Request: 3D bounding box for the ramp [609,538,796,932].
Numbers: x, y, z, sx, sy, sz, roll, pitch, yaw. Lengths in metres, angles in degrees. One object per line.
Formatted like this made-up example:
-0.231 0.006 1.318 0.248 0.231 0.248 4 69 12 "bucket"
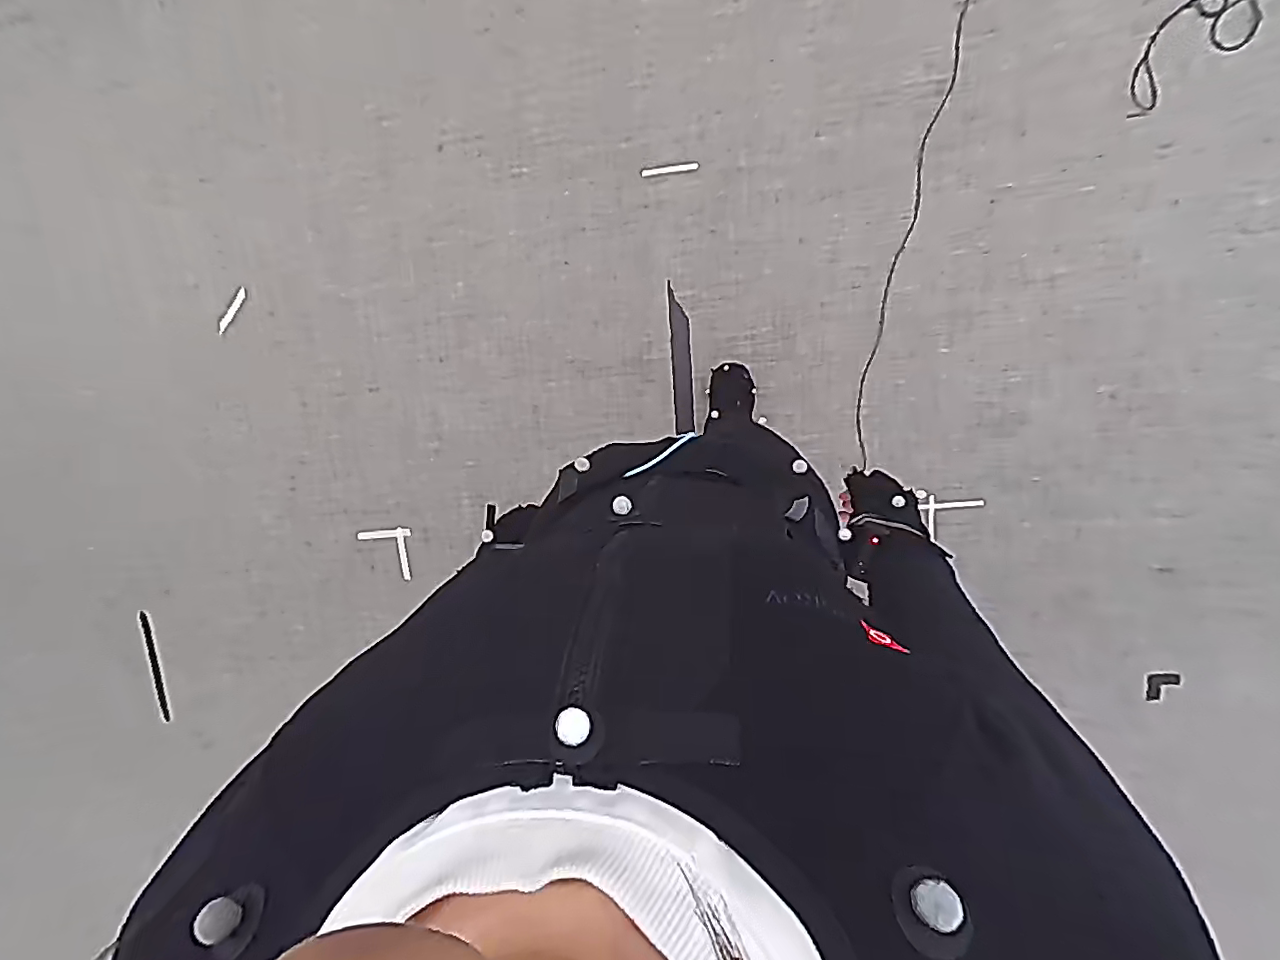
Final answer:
0.155 0.654 1.437 0.509 0.206 0.991 -2 97 11 "ramp"
